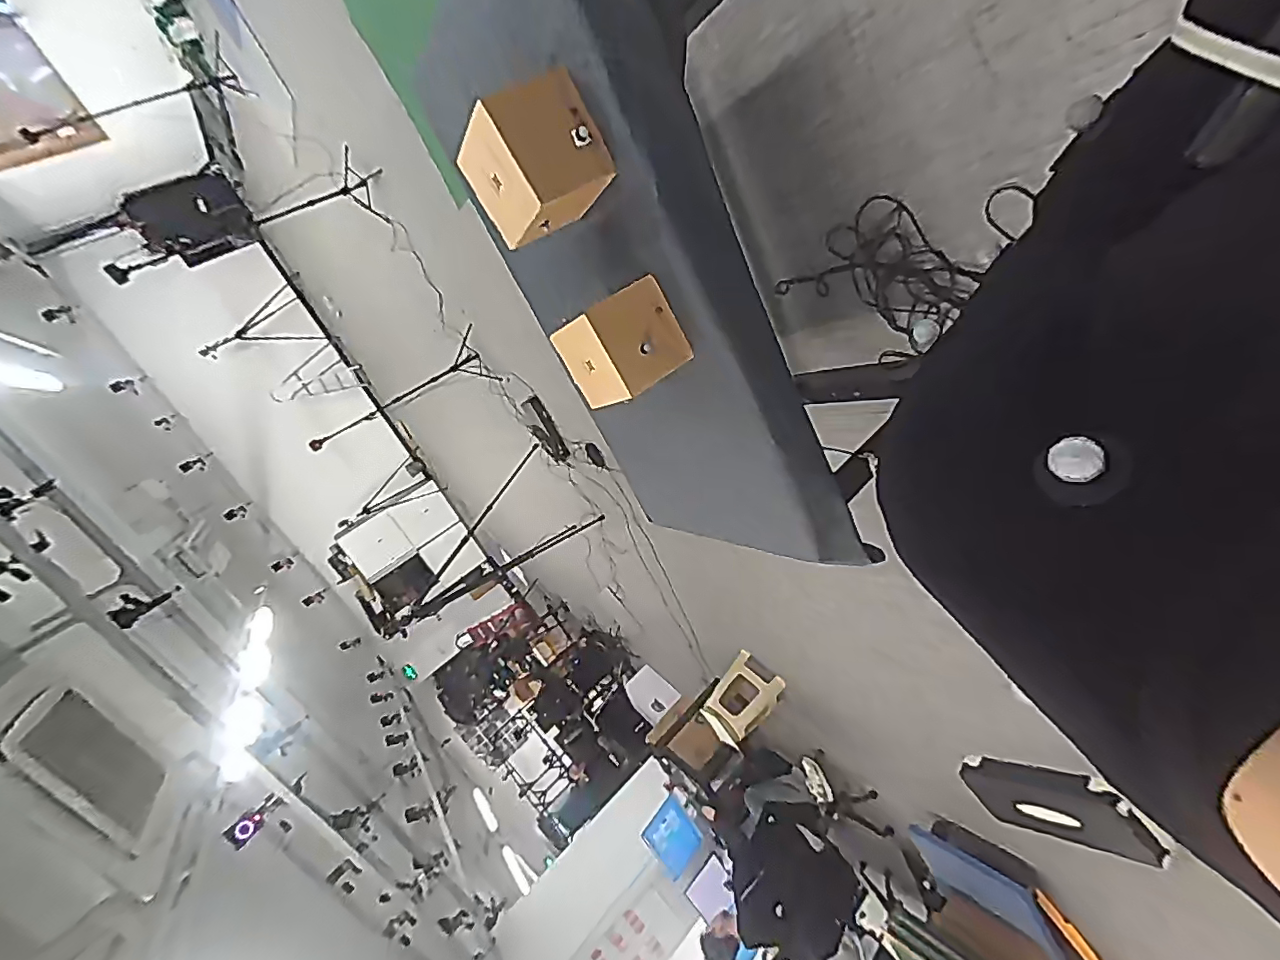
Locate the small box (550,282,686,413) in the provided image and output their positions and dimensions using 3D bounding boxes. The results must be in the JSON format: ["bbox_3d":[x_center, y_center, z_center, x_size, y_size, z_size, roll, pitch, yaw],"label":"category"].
[{"bbox_3d":[-0.035,-0.248,1.024,0.168,0.176,0.179,59,155,-16],"label":"small box"}]

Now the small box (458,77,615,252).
[{"bbox_3d":[-0.170,-0.516,0.897,0.168,0.176,0.179,57,154,-15],"label":"small box"}]
